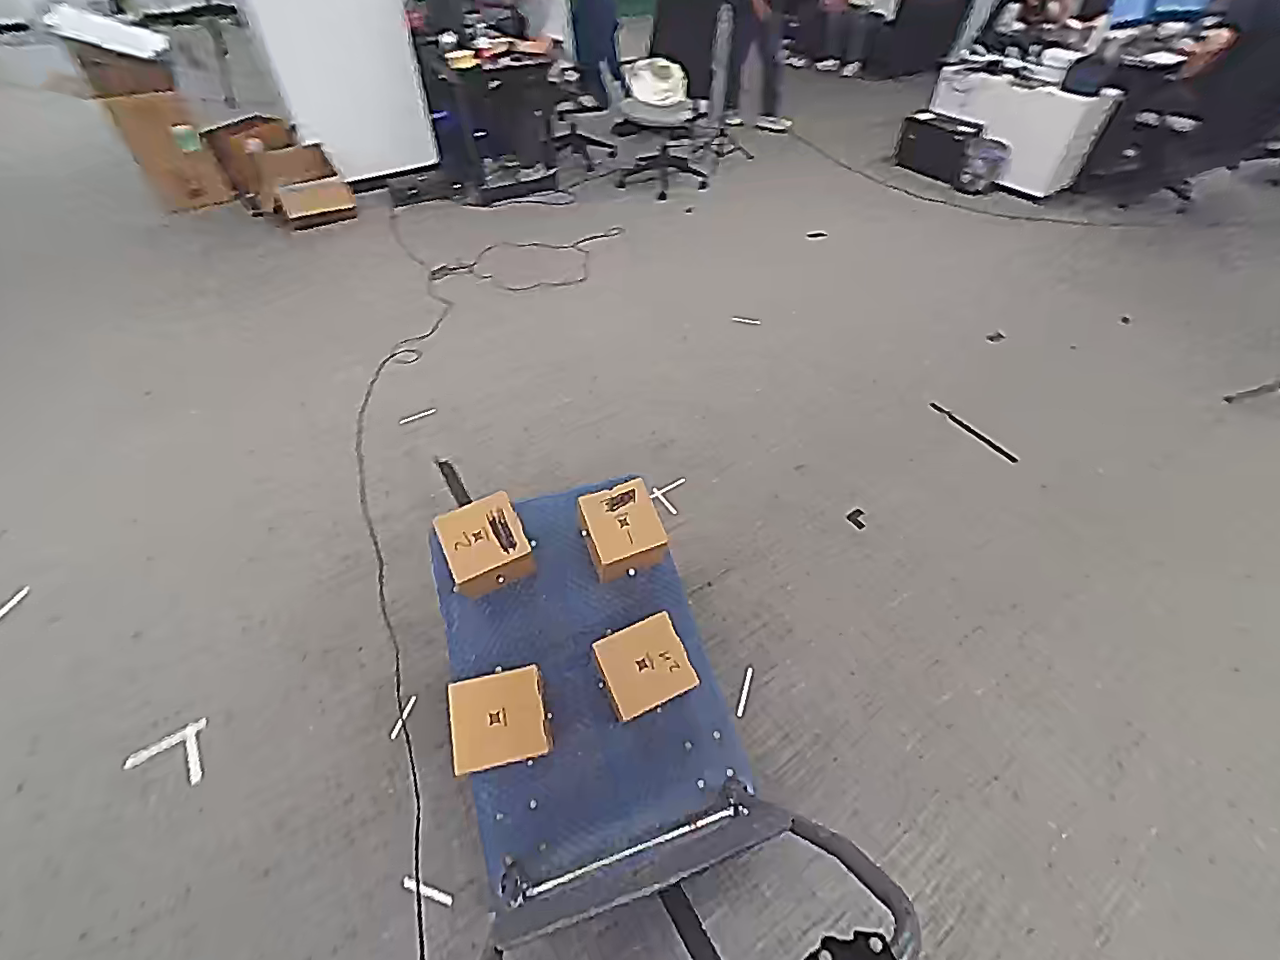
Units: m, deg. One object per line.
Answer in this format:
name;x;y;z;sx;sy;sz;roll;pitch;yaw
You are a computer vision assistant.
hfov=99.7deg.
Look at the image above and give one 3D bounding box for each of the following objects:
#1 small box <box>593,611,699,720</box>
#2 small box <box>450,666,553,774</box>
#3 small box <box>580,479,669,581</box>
small box;0.007;0.414;1.189;0.179;0.176;0.168;-21;69;-14
small box;-0.282;0.498;1.122;0.179;0.176;0.168;-10;66;-12
small box;-0.046;0.126;1.321;0.168;0.176;0.179;-18;69;-13
